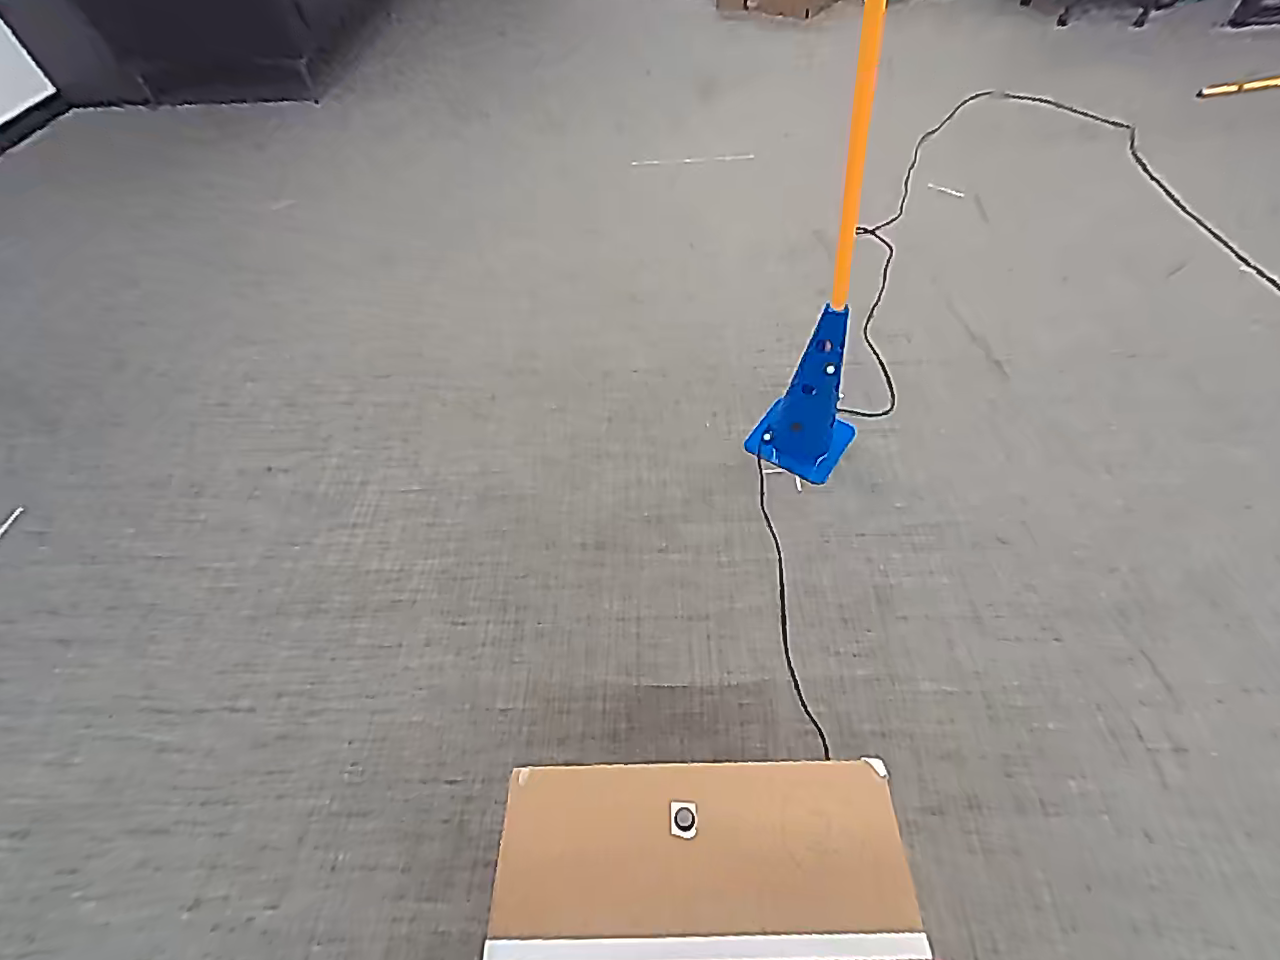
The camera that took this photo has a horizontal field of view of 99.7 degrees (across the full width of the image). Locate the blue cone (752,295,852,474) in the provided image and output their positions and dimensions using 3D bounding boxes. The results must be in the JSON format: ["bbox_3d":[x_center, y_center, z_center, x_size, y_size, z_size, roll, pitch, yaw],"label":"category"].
[{"bbox_3d":[0.361,-0.201,1.096,0.192,0.380,0.193,26,60,21],"label":"blue cone"}]
